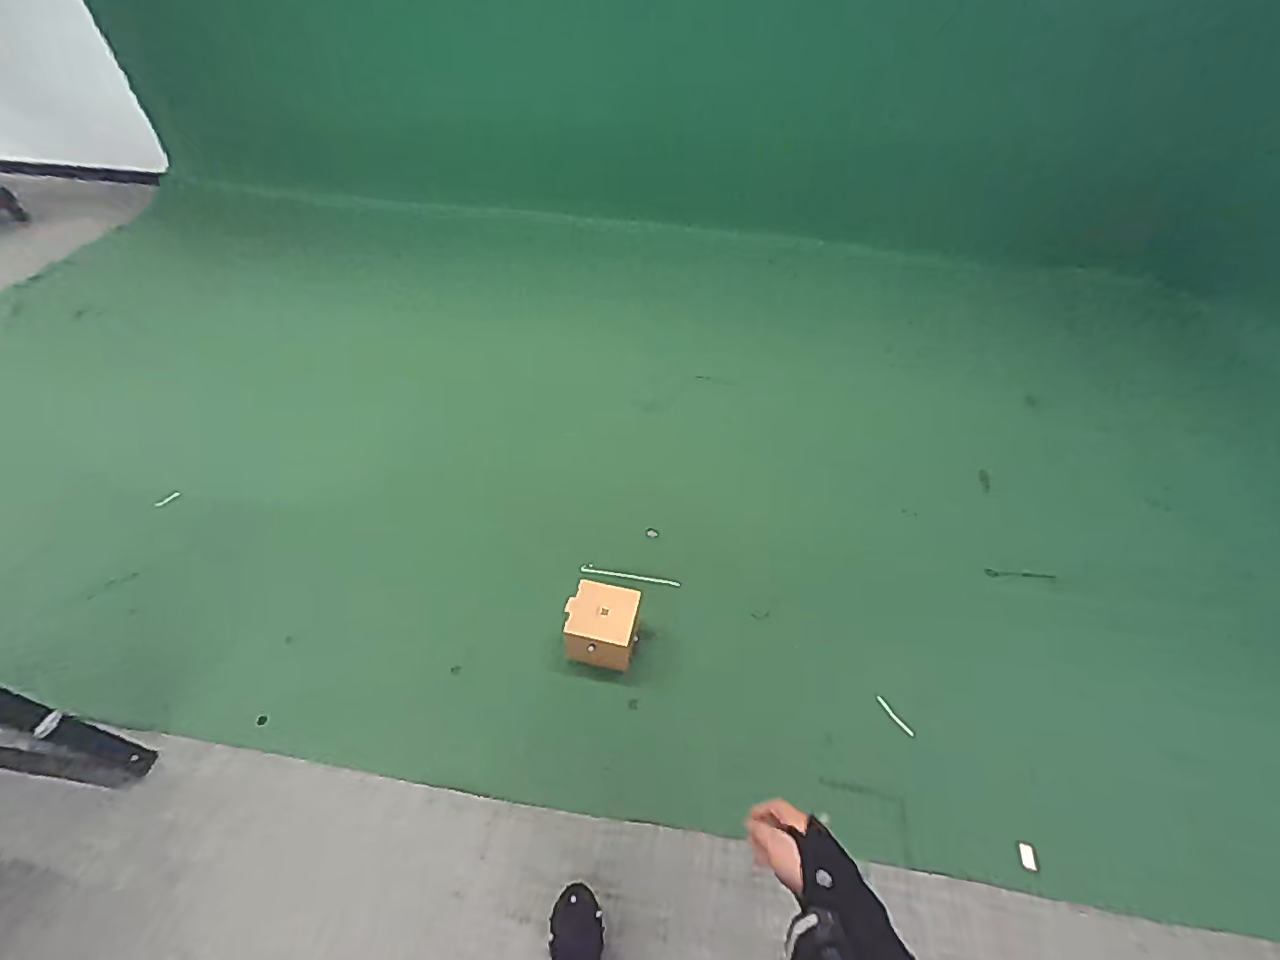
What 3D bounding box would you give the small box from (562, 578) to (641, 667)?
[{"bbox_3d":[-0.102,0.399,1.496,0.179,0.176,0.168,10,50,7],"label":"small box"}]
